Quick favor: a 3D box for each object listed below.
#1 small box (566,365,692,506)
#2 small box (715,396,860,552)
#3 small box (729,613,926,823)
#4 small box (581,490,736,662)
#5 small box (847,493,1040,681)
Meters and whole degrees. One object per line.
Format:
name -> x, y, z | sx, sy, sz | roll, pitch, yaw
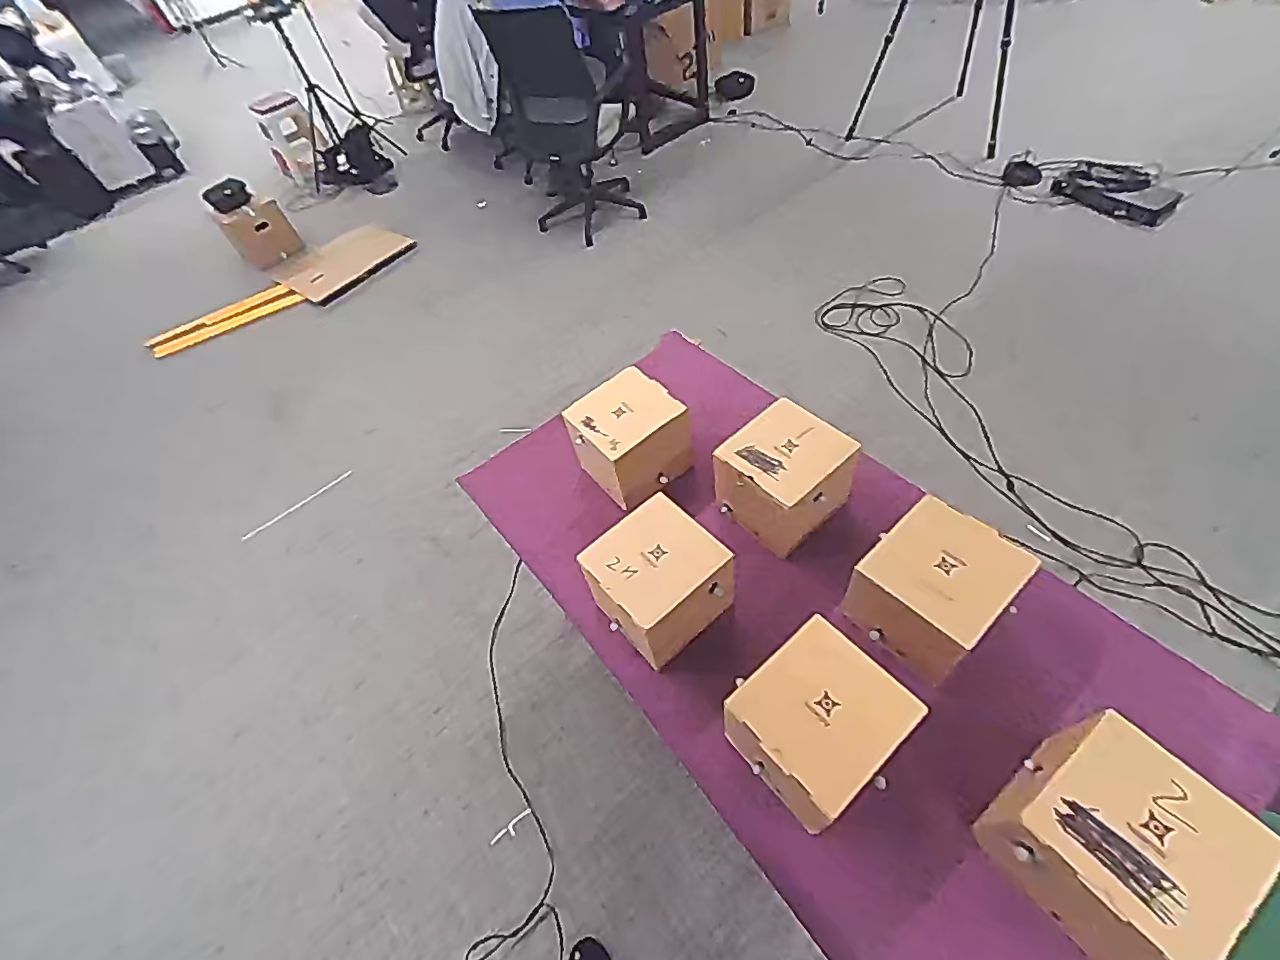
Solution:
small box -> -0.014, -0.085, 1.050 | 0.179, 0.176, 0.168 | -35, 55, -16
small box -> 0.253, -0.006, 0.949 | 0.179, 0.176, 0.168 | -37, 57, -17
small box -> 0.232, 0.317, 0.717 | 0.179, 0.176, 0.168 | -37, 57, -17
small box -> 0.033, 0.156, 0.866 | 0.179, 0.176, 0.168 | -37, 56, -18
small box -> 0.429, 0.160, 0.798 | 0.179, 0.176, 0.168 | -38, 56, -16
